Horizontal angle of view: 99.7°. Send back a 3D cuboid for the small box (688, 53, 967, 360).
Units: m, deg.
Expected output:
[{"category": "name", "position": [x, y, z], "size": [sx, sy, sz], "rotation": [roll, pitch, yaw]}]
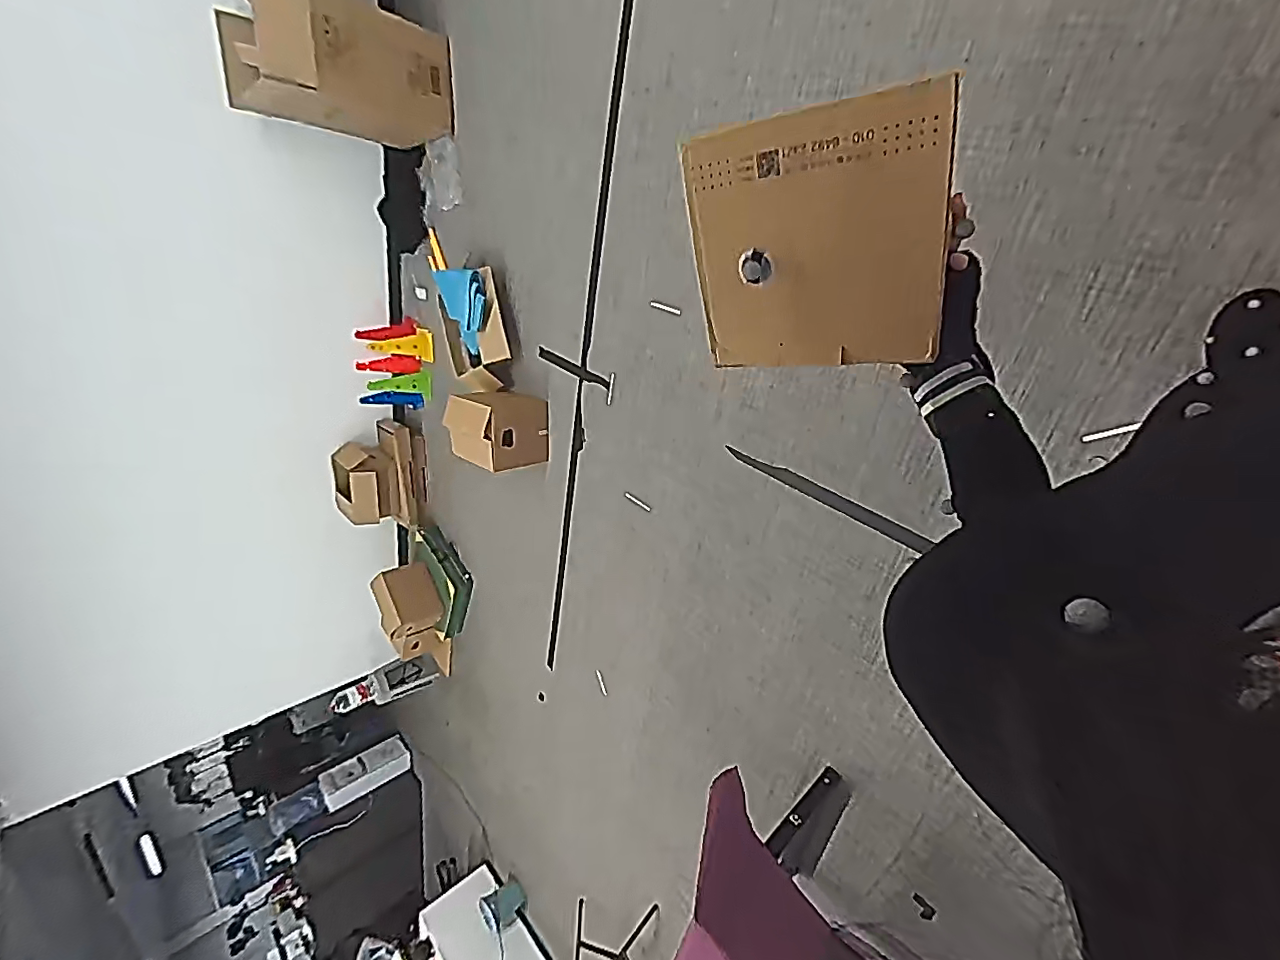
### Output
[{"category": "small box", "position": [0.151, -0.208, 0.422], "size": [0.168, 0.179, 0.176], "rotation": [6, 128, 30]}]
